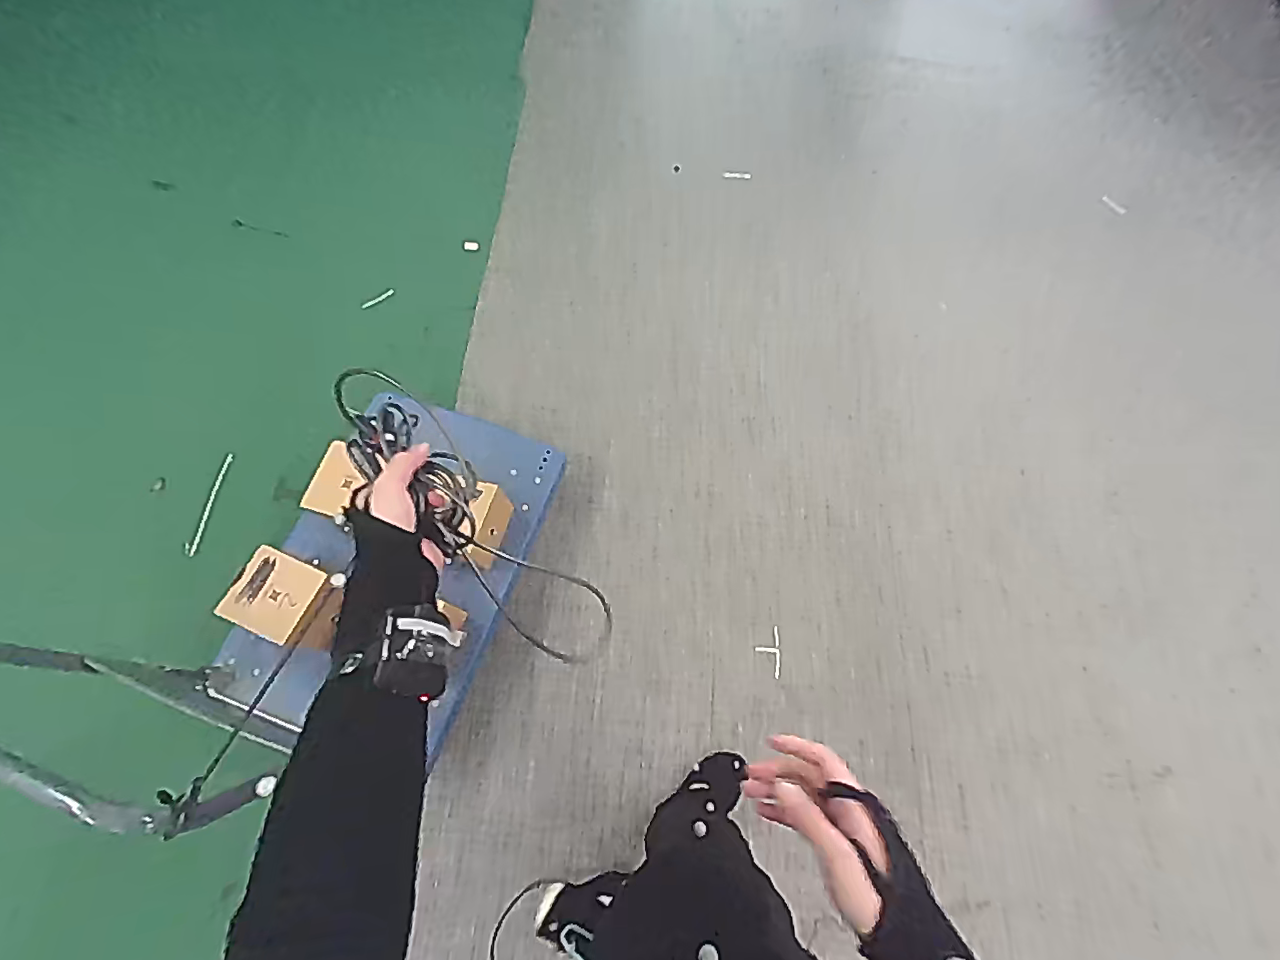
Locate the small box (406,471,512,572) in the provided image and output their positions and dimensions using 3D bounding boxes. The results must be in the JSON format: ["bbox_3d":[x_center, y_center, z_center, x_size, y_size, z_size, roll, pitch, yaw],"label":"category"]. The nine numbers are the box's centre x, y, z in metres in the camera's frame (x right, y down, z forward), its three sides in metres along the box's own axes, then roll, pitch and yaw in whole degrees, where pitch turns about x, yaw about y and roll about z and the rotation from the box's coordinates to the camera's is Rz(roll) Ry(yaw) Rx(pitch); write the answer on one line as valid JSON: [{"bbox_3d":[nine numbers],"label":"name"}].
[{"bbox_3d":[-0.420,0.105,1.294,0.168,0.176,0.179,14,71,6],"label":"small box"}]

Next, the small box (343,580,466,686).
[{"bbox_3d":[-0.510,0.344,1.205,0.168,0.176,0.179,19,71,7],"label":"small box"}]

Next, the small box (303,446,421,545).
[{"bbox_3d":[-0.663,0.044,1.318,0.168,0.176,0.179,15,70,5],"label":"small box"}]
